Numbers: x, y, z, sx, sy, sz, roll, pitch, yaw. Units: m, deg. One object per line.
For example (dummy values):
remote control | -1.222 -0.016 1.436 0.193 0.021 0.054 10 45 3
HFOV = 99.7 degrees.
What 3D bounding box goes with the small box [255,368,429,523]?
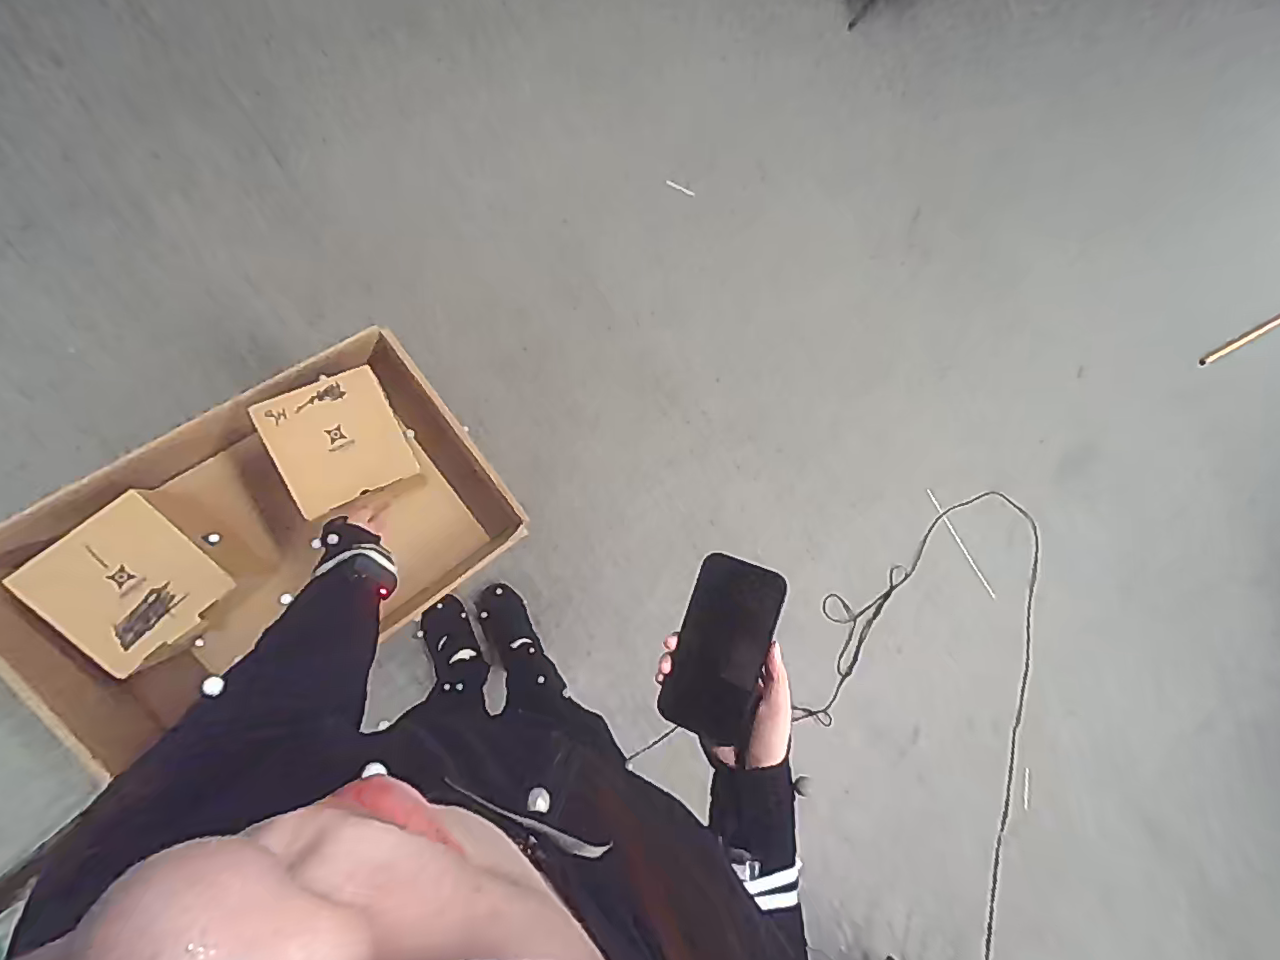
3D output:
small box | -0.442 -0.046 0.837 0.168 0.176 0.179 -26 92 -18
